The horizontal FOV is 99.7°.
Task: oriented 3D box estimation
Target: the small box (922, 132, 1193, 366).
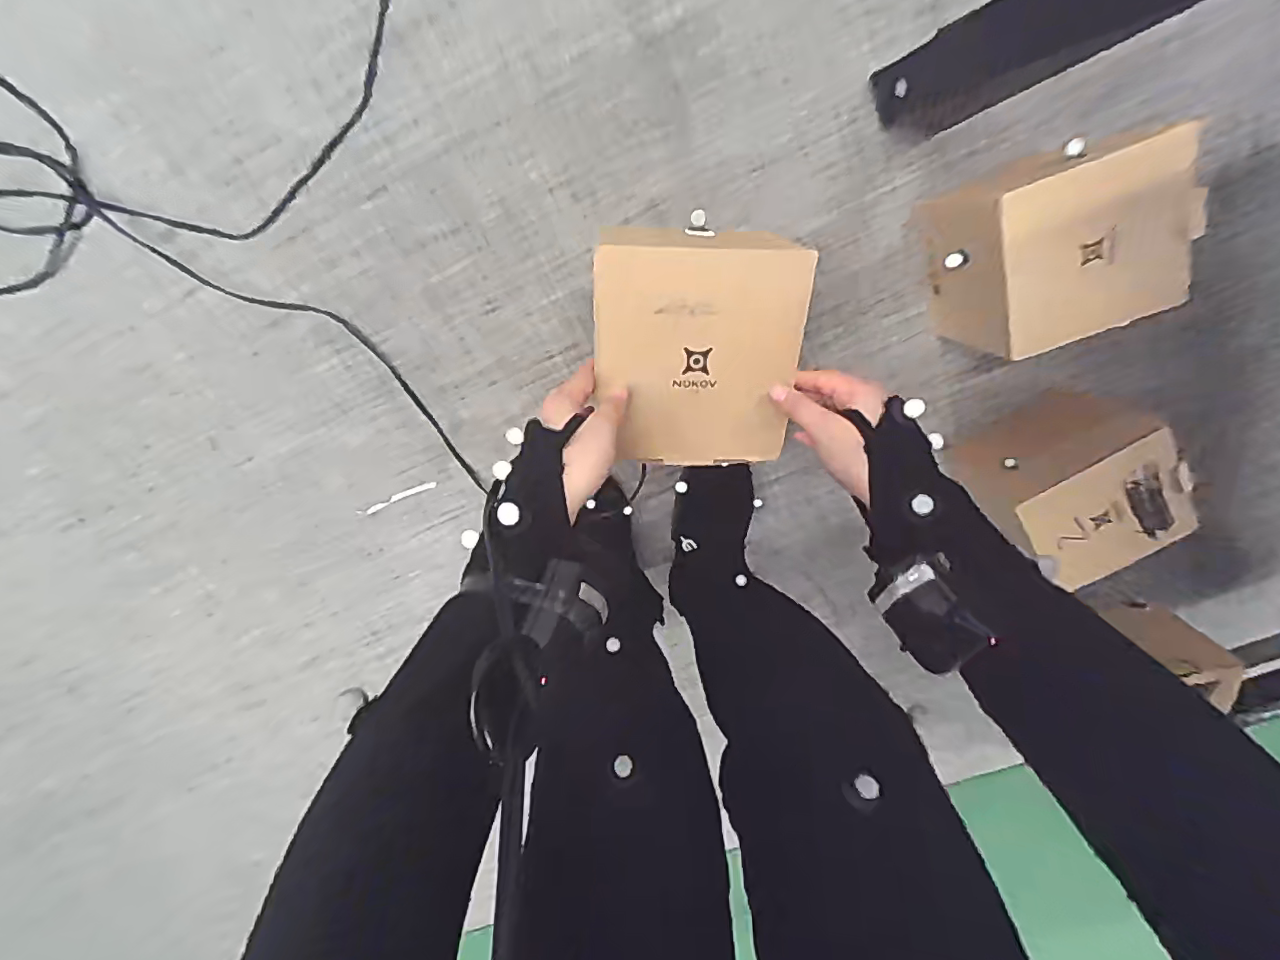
[{"bbox_3d":[0.434,-0.243,0.591,0.179,0.176,0.168,-20,113,6],"label":"small box"}]
